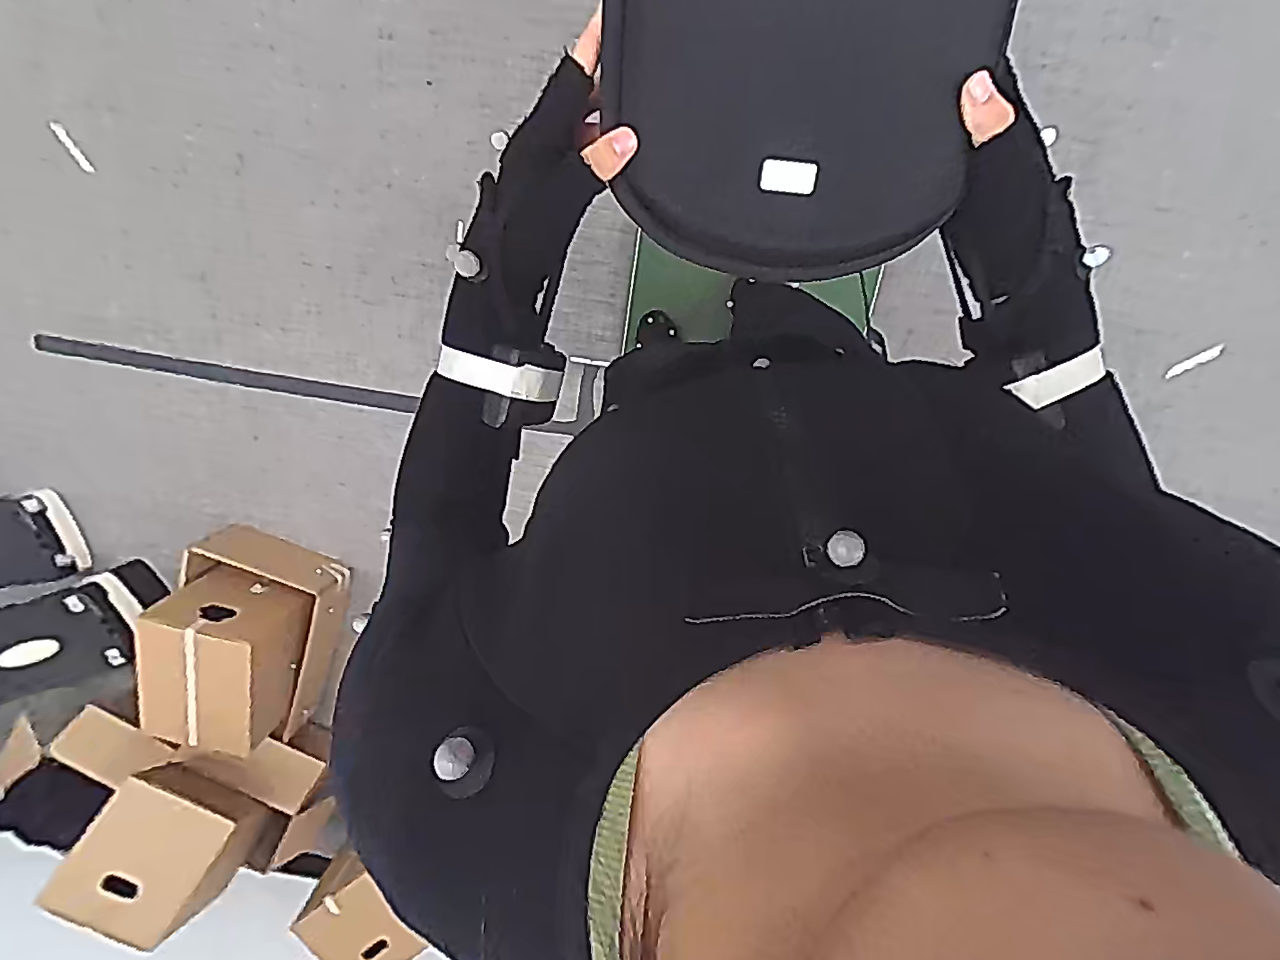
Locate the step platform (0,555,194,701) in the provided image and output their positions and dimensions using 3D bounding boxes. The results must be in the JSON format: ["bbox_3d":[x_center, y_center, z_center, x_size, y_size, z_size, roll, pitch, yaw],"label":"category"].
[{"bbox_3d":[-1.865,0.489,1.768,0.684,0.204,0.286,-19,107,9],"label":"step platform"}]
